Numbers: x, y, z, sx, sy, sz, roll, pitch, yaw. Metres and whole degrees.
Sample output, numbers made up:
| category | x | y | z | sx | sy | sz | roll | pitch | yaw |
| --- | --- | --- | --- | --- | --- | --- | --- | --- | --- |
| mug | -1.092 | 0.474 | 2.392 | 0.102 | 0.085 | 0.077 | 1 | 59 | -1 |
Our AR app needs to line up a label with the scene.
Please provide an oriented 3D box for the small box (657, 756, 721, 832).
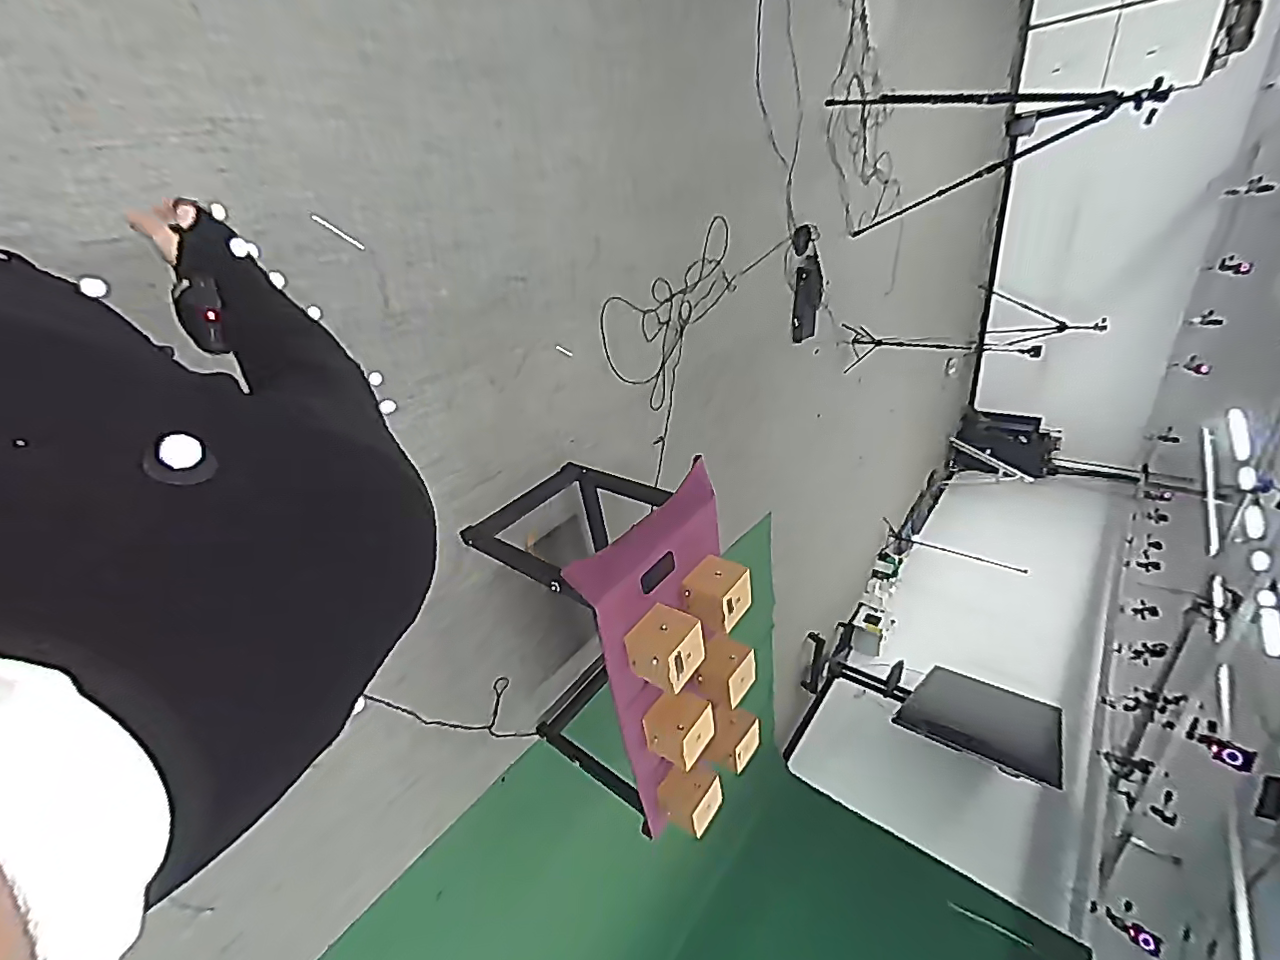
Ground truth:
| category | x | y | z | sx | sy | sz | roll | pitch | yaw |
| --- | --- | --- | --- | --- | --- | --- | --- | --- | --- |
| small box | 0.186 | 1.174 | 2.055 | 0.179 | 0.176 | 0.168 | -36 | 128 | -37 |

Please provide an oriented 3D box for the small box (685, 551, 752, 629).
| category | x | y | z | sx | sy | sz | roll | pitch | yaw |
| --- | --- | --- | --- | --- | --- | --- | --- | --- | --- |
| small box | 0.267 | 0.375 | 1.865 | 0.179 | 0.176 | 0.168 | -37 | 129 | -38 |

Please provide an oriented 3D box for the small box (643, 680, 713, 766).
| category | x | y | z | sx | sy | sz | roll | pitch | yaw |
| --- | --- | --- | --- | --- | --- | --- | --- | --- | --- |
| small box | 0.133 | 0.831 | 1.871 | 0.179 | 0.176 | 0.168 | -37 | 130 | -39 |

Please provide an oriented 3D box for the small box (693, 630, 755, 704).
| category | x | y | z | sx | sy | sz | roll | pitch | yaw |
| --- | --- | --- | --- | --- | --- | --- | --- | --- | --- |
| small box | 0.319 | 0.703 | 2.057 | 0.179 | 0.176 | 0.168 | -35 | 127 | -38 |

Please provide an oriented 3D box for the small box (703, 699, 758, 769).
| category | x | y | z | sx | sy | sz | roll | pitch | yaw |
| --- | --- | --- | --- | --- | --- | --- | --- | --- | --- |
| small box | 0.373 | 1.042 | 2.244 | 0.179 | 0.176 | 0.168 | -35 | 127 | -39 |
